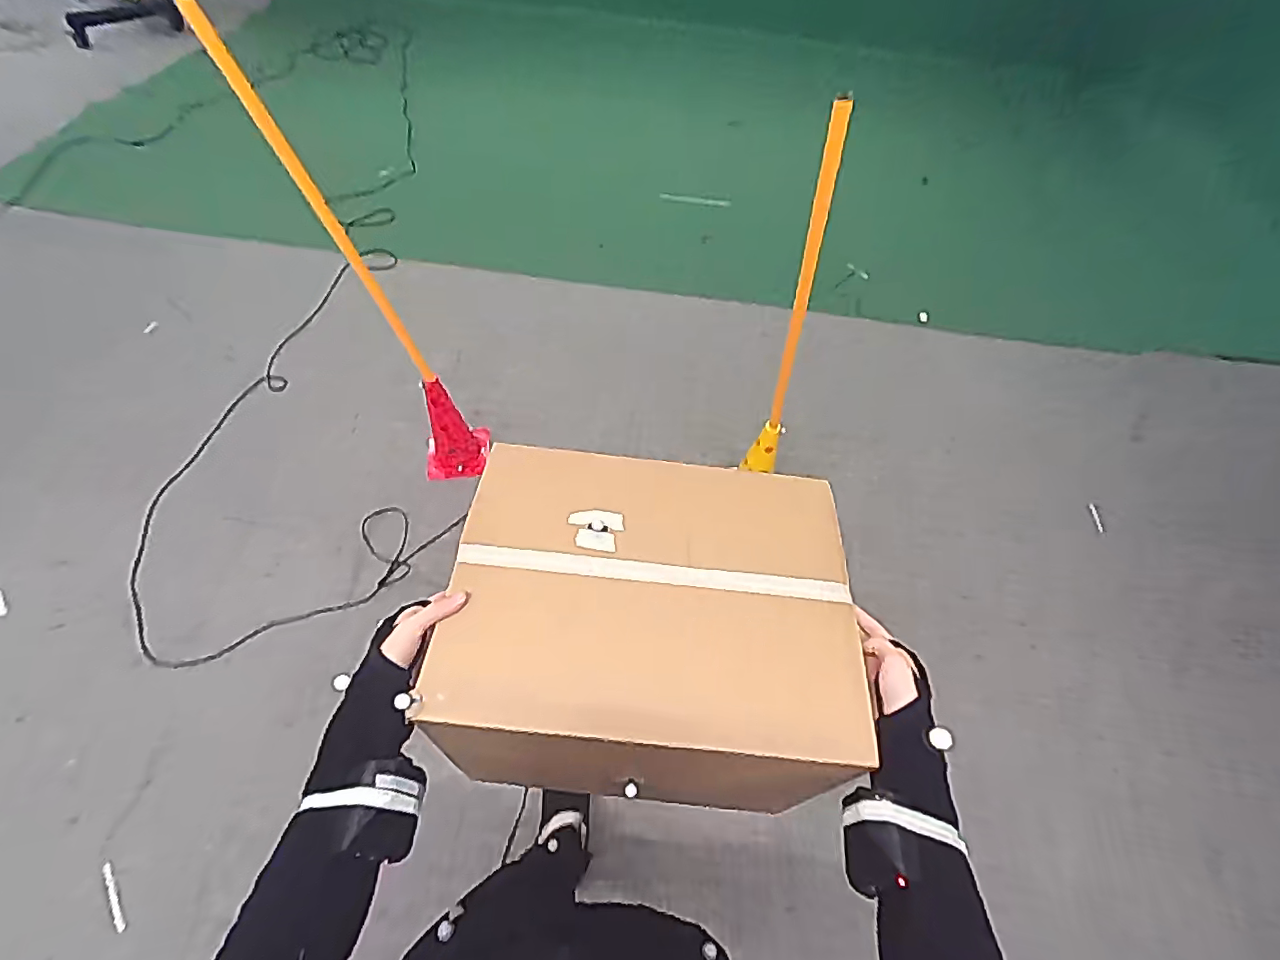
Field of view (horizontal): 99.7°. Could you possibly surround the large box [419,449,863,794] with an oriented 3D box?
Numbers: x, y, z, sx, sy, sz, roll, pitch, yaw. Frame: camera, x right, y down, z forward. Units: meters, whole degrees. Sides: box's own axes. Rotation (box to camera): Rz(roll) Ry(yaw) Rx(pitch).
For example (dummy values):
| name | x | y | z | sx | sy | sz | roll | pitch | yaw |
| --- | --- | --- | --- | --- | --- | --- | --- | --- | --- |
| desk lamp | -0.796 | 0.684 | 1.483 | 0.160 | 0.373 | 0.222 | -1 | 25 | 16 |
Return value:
| name | x | y | z | sx | sy | sz | roll | pitch | yaw |
| --- | --- | --- | --- | --- | --- | --- | --- | --- | --- |
| large box | 0.005 | 0.191 | 0.684 | 0.408 | 0.320 | 0.320 | 6 | 52 | 0 |
